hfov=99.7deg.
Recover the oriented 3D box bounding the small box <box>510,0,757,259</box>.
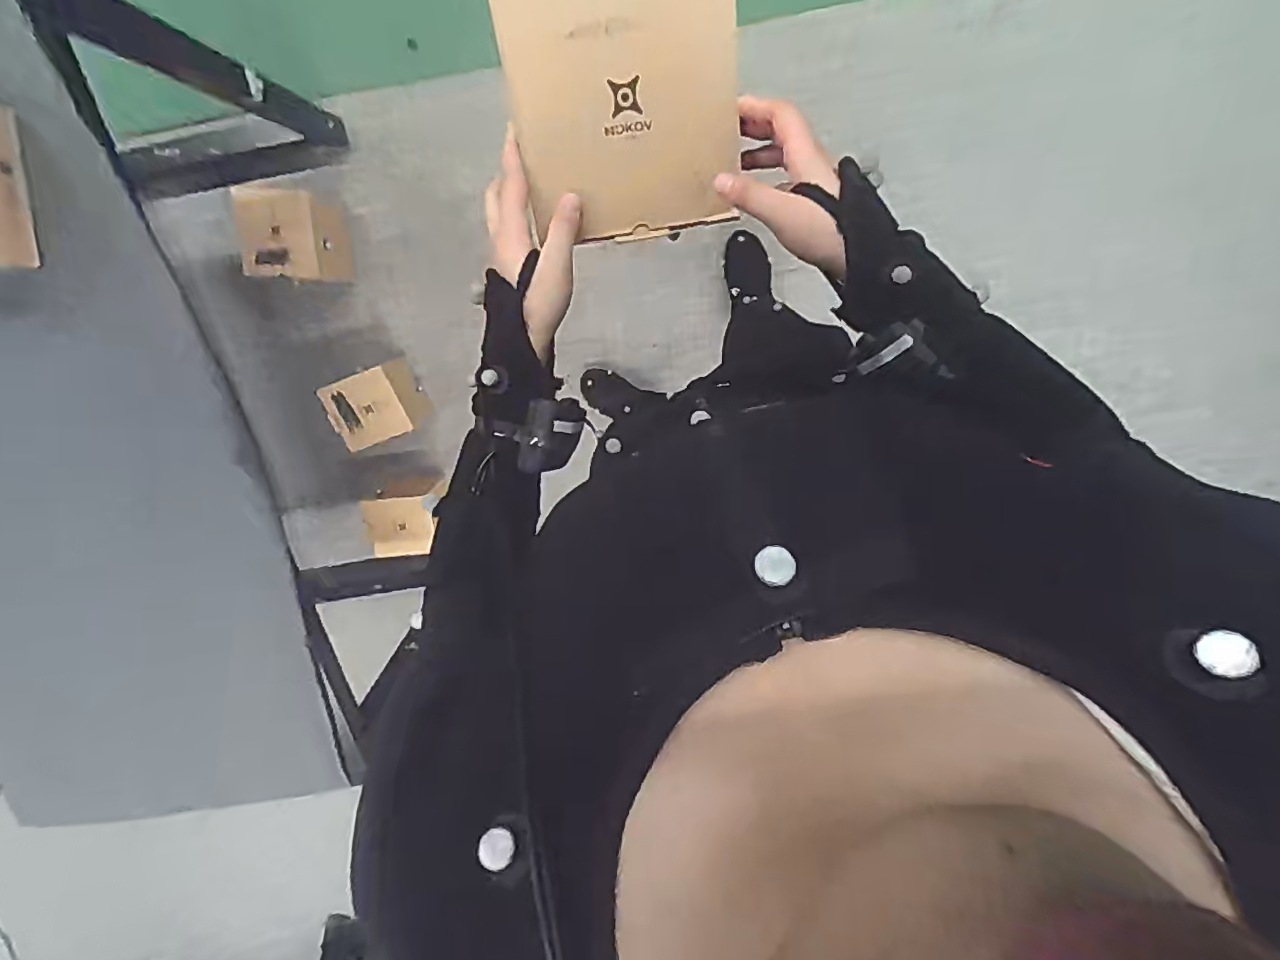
[{"bbox_3d":[-0.005,-0.300,0.458,0.168,0.176,0.179,-9,119,-3],"label":"small box"}]

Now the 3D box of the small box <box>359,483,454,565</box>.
[{"bbox_3d":[-0.619,0.114,1.465,0.179,0.176,0.168,-5,110,2],"label":"small box"}]

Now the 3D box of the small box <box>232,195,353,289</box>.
[{"bbox_3d":[-0.778,-0.534,1.234,0.168,0.176,0.179,3,108,-2],"label":"small box"}]
